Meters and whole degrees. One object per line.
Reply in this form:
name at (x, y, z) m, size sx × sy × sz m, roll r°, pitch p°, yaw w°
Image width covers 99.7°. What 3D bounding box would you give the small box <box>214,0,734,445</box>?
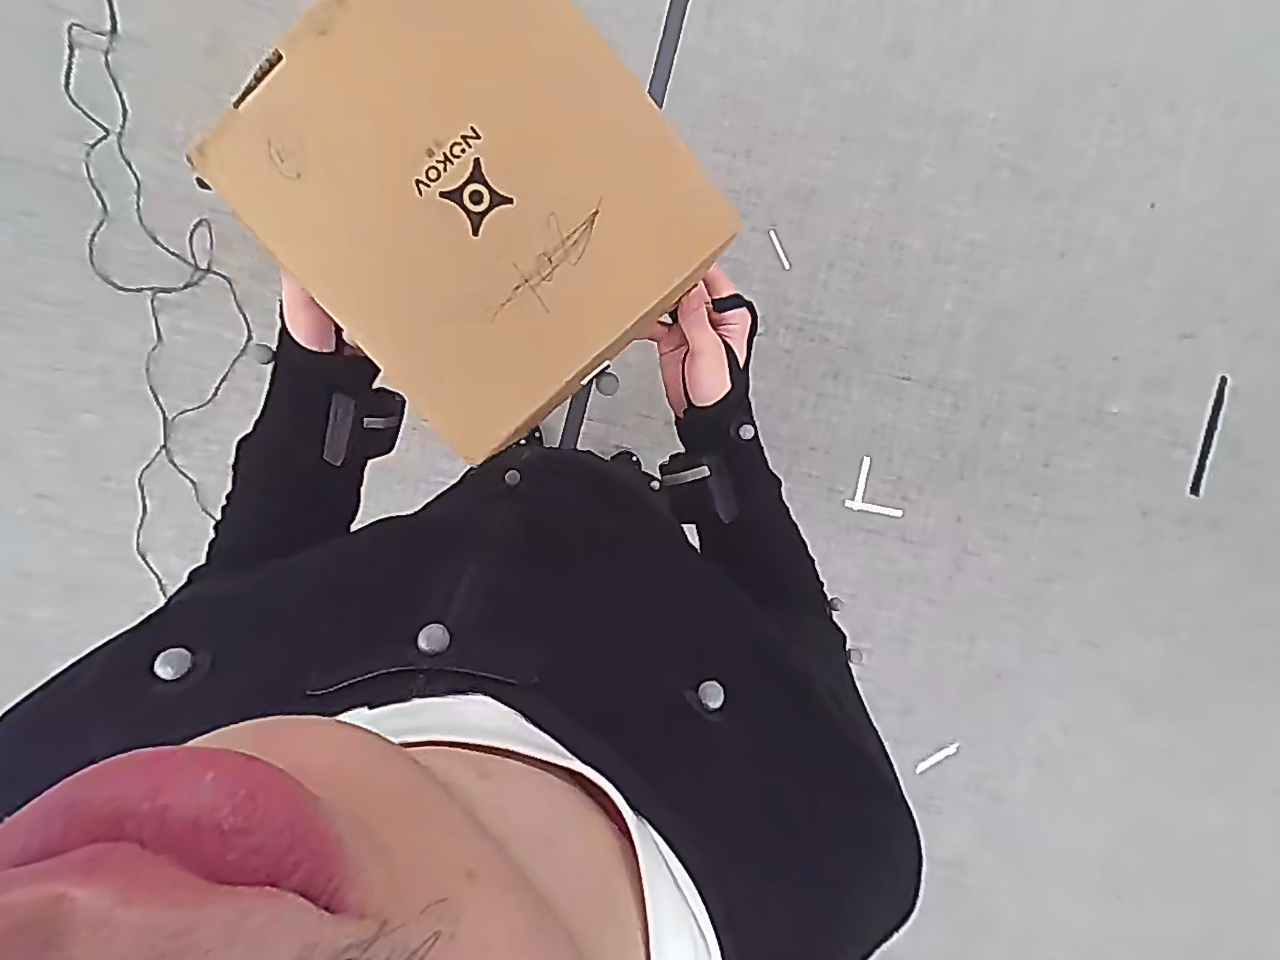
small box at (-0.075, -0.143, 0.322) m, size 0.168 × 0.176 × 0.179 m, roll -41°, pitch 100°, yaw 6°
